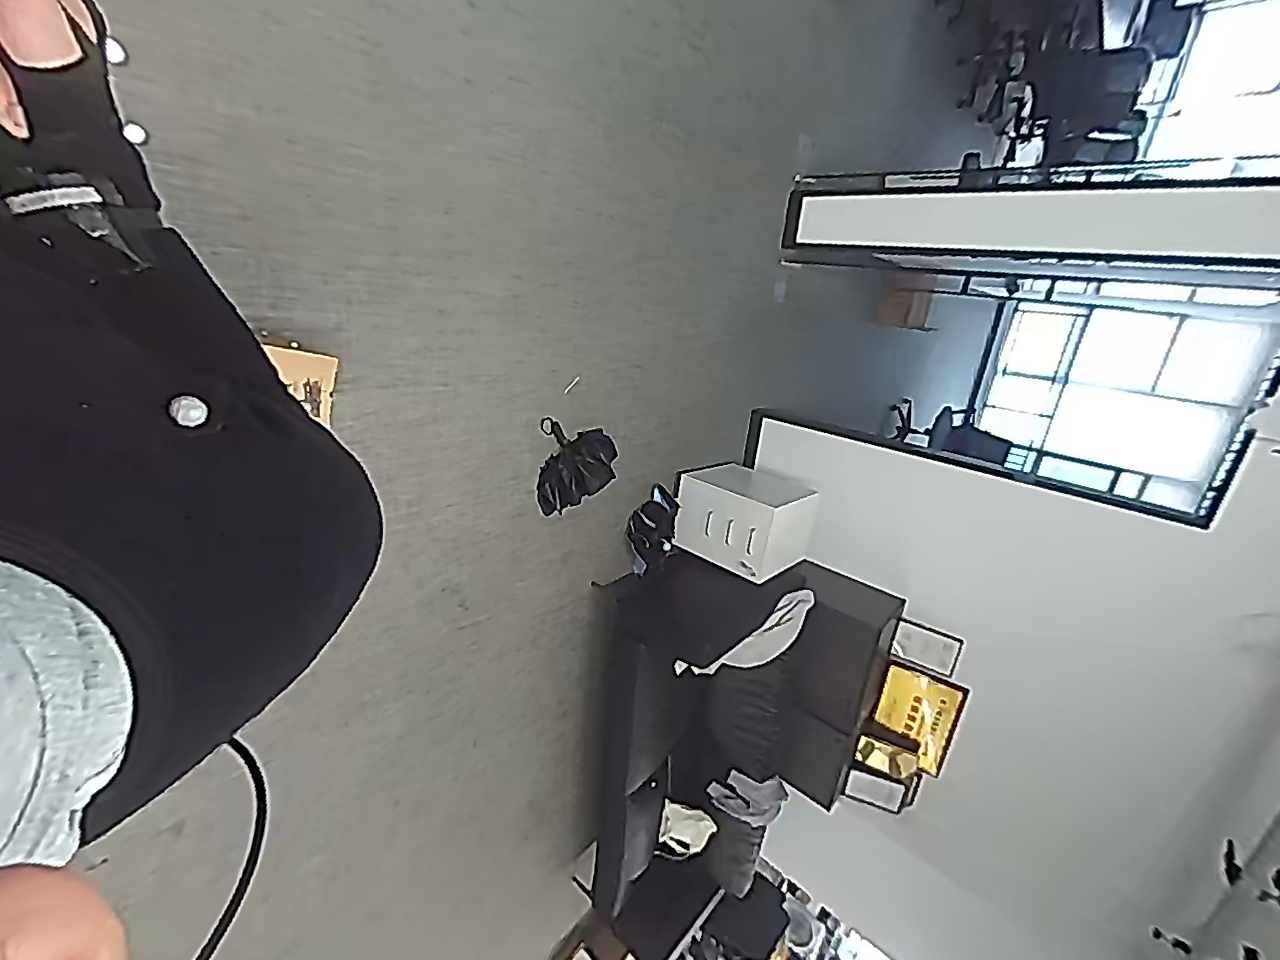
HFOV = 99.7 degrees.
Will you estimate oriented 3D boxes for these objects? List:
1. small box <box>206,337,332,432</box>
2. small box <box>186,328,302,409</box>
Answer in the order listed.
[{"bbox_3d":[-0.804,-0.207,1.173,0.179,0.176,0.168,1,105,-52],"label":"small box"},{"bbox_3d":[-0.929,-0.254,1.269,0.179,0.176,0.168,-1,106,-51],"label":"small box"}]
